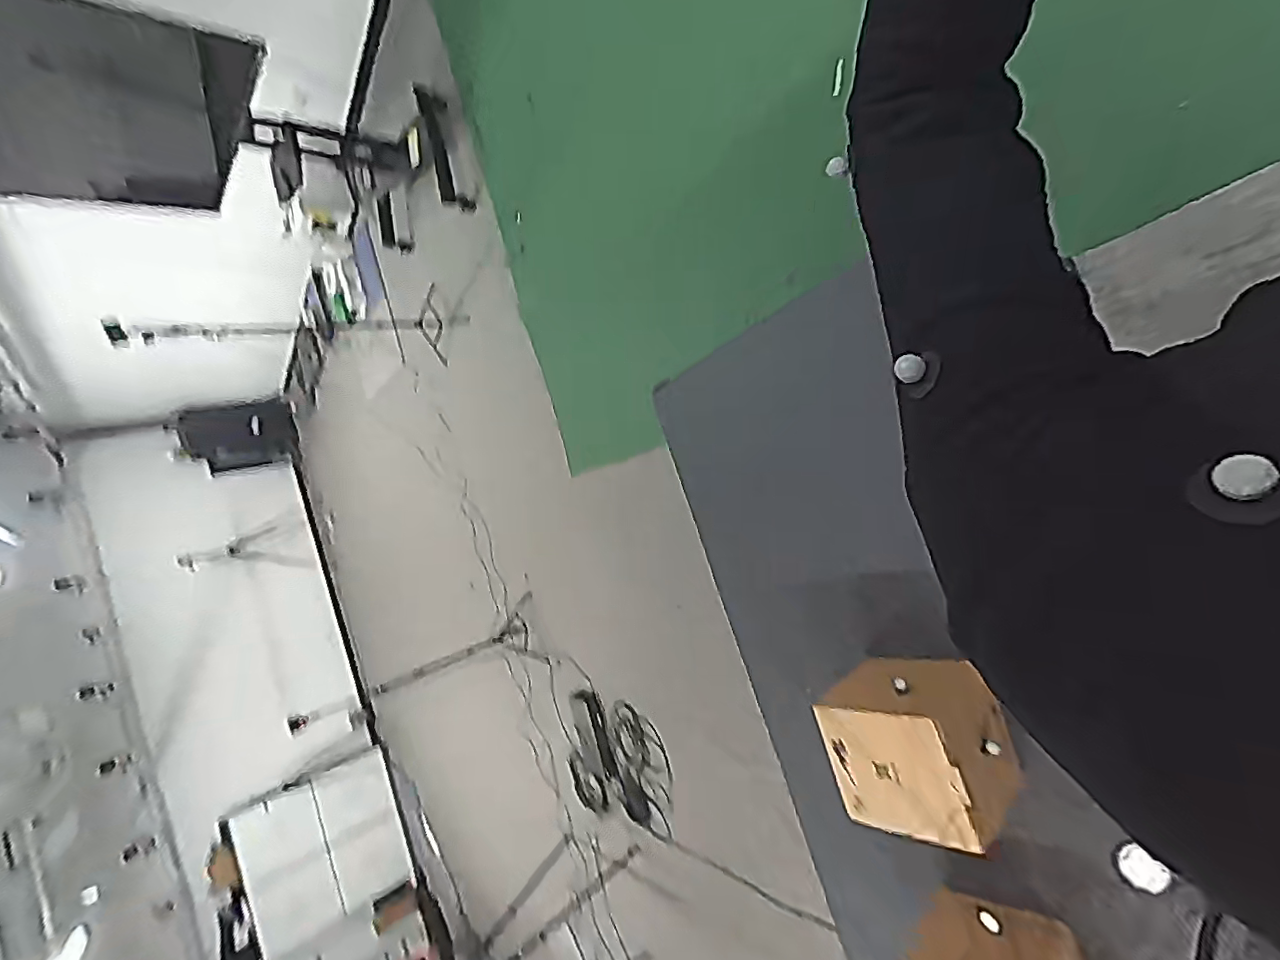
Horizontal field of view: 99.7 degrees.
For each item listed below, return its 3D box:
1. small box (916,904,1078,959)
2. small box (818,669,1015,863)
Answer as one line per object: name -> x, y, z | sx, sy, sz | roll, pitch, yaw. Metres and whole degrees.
small box -> 0.494, 0.725, 0.717 | 0.168, 0.176, 0.179 | -29, 77, 49
small box -> 0.385, 0.372, 0.745 | 0.179, 0.176, 0.168 | -23, 83, 49
